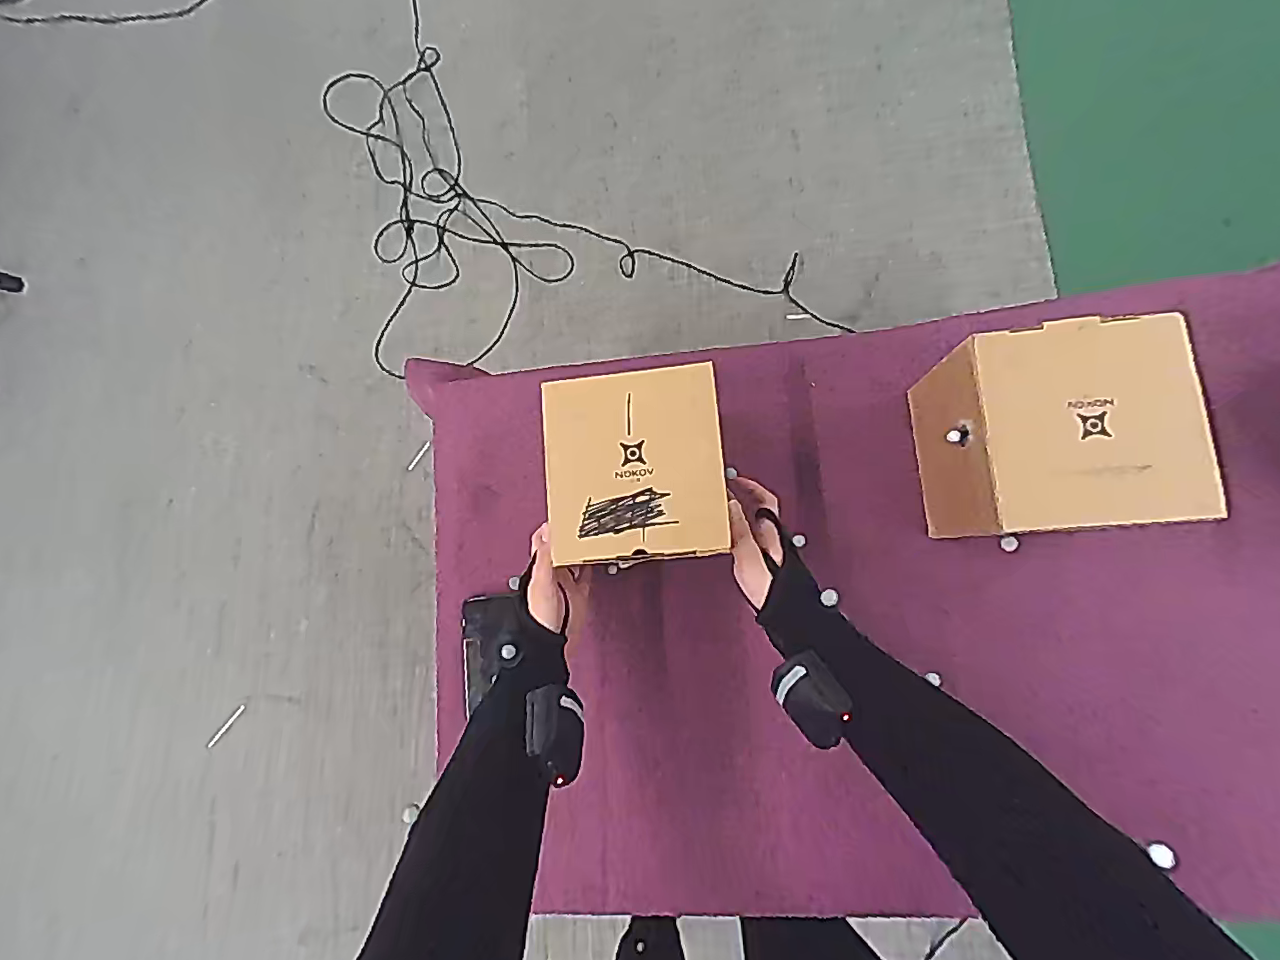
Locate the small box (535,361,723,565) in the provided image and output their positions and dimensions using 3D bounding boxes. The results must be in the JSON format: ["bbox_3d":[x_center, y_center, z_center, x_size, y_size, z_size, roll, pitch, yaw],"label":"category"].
[{"bbox_3d":[-0.002,-0.006,0.572,0.168,0.176,0.179,-6,81,7],"label":"small box"}]

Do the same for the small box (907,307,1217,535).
[{"bbox_3d":[0.376,-0.042,0.522,0.168,0.176,0.179,-5,82,9],"label":"small box"}]
